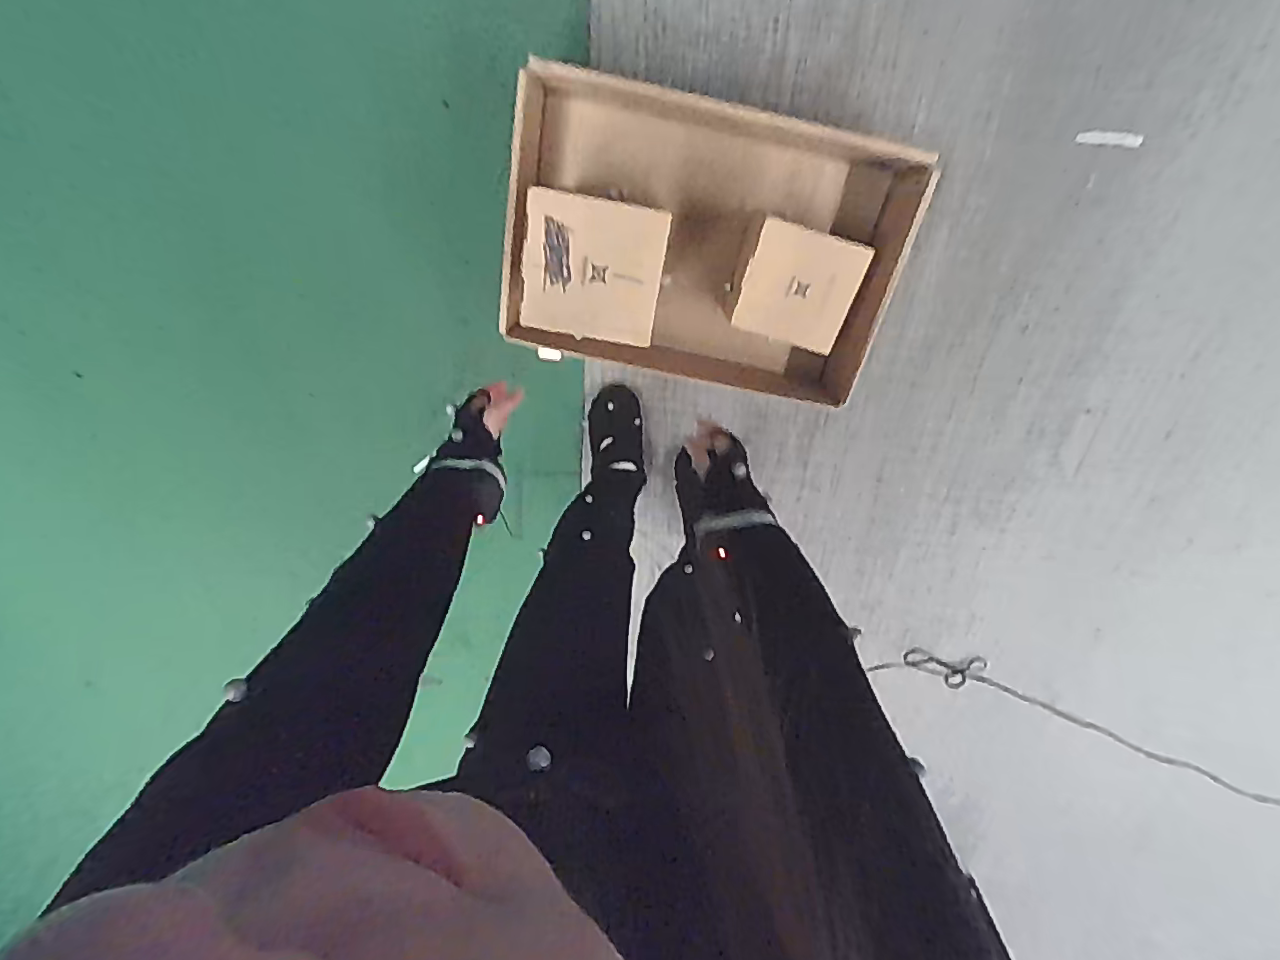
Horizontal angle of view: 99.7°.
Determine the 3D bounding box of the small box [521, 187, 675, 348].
[{"bbox_3d":[-0.056,-0.298,0.755,0.179,0.176,0.168,9,117,-4],"label":"small box"}]
